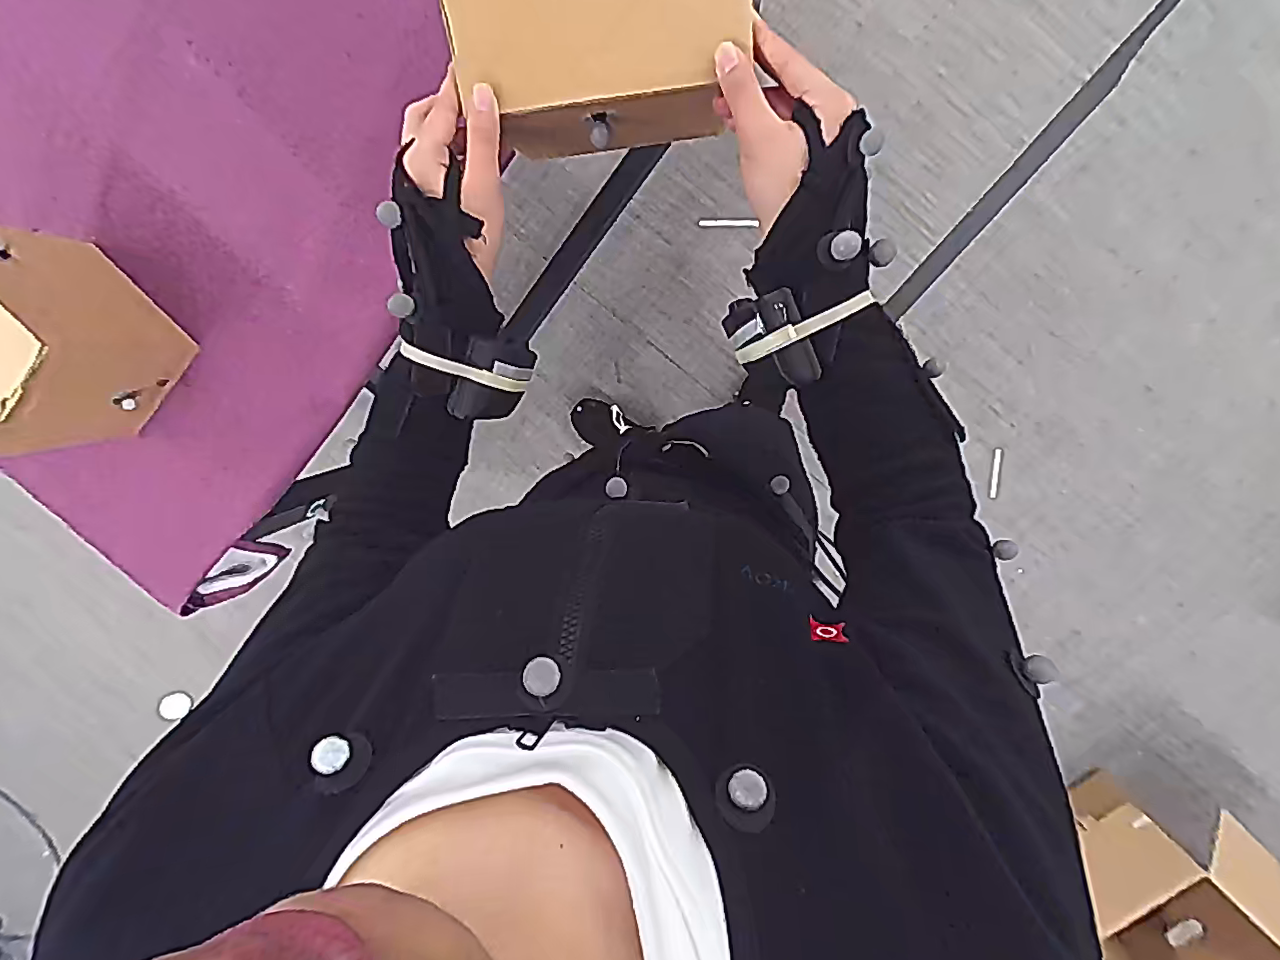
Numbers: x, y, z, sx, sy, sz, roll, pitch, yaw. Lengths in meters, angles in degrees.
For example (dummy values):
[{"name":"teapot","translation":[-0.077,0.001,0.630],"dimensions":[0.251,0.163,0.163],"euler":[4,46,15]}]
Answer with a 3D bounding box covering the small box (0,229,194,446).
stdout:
[{"name":"small box","translation":[-0.666,-0.153,0.597],"dimensions":[0.168,0.176,0.179],"euler":[-43,95,13]}]
